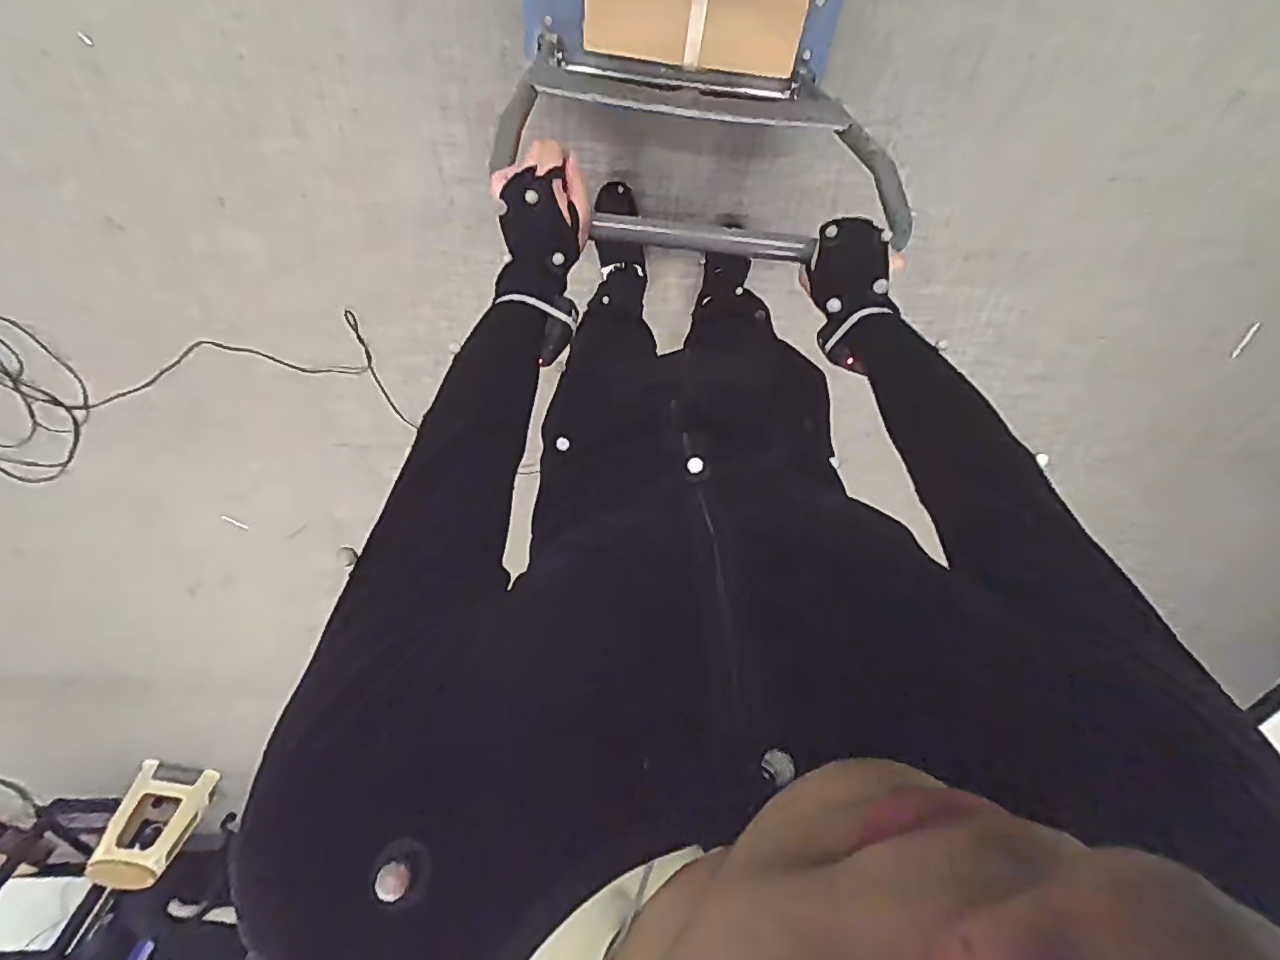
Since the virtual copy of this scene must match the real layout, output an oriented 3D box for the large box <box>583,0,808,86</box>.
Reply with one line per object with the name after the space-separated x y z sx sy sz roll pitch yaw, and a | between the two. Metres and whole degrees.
0.090 -0.848 0.784 0.320 0.320 0.408 4 132 -5 | large box
